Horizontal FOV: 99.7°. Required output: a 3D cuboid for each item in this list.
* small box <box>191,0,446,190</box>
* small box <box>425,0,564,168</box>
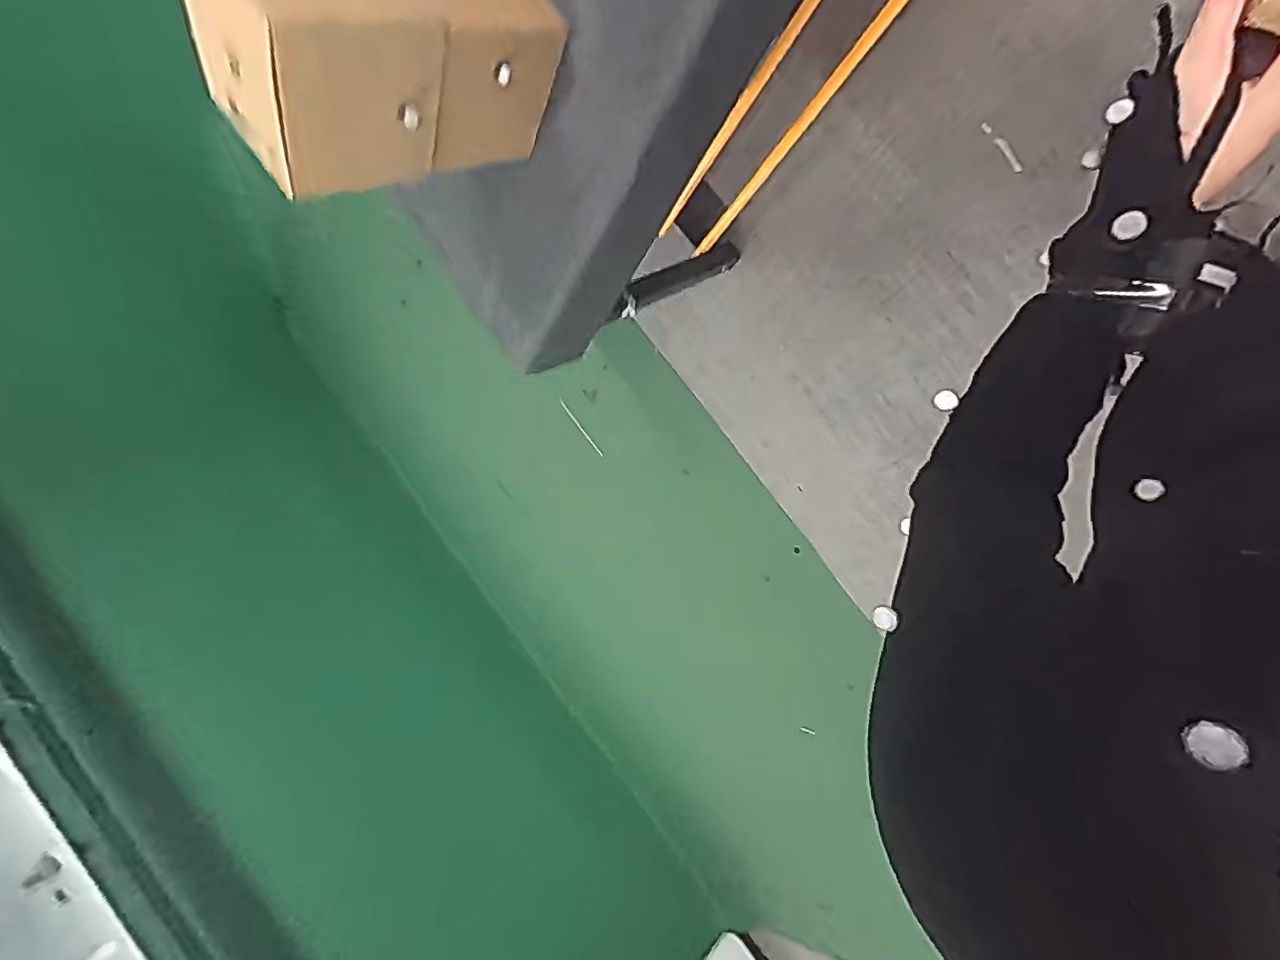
[{"bbox_3d":[-0.323,-0.440,0.555,0.168,0.176,0.179,52,143,6],"label":"small box"},{"bbox_3d":[-0.216,-0.520,0.652,0.168,0.176,0.179,54,145,4],"label":"small box"}]
